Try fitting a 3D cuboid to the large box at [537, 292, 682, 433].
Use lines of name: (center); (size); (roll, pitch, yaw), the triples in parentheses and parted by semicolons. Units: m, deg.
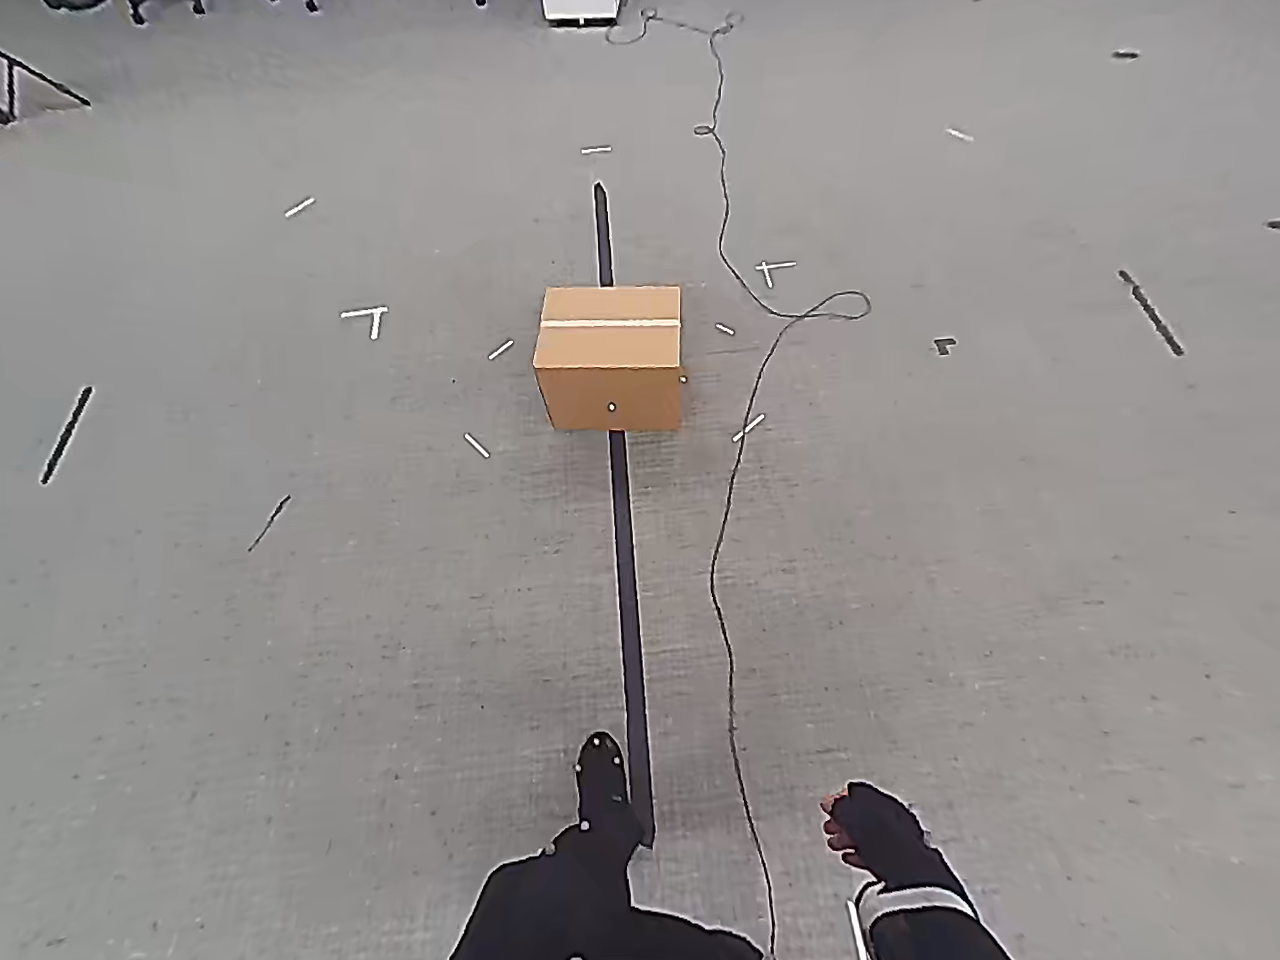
large box: (-0.076, -0.352, 1.662); (0.408, 0.320, 0.320); (1, 62, 3)
